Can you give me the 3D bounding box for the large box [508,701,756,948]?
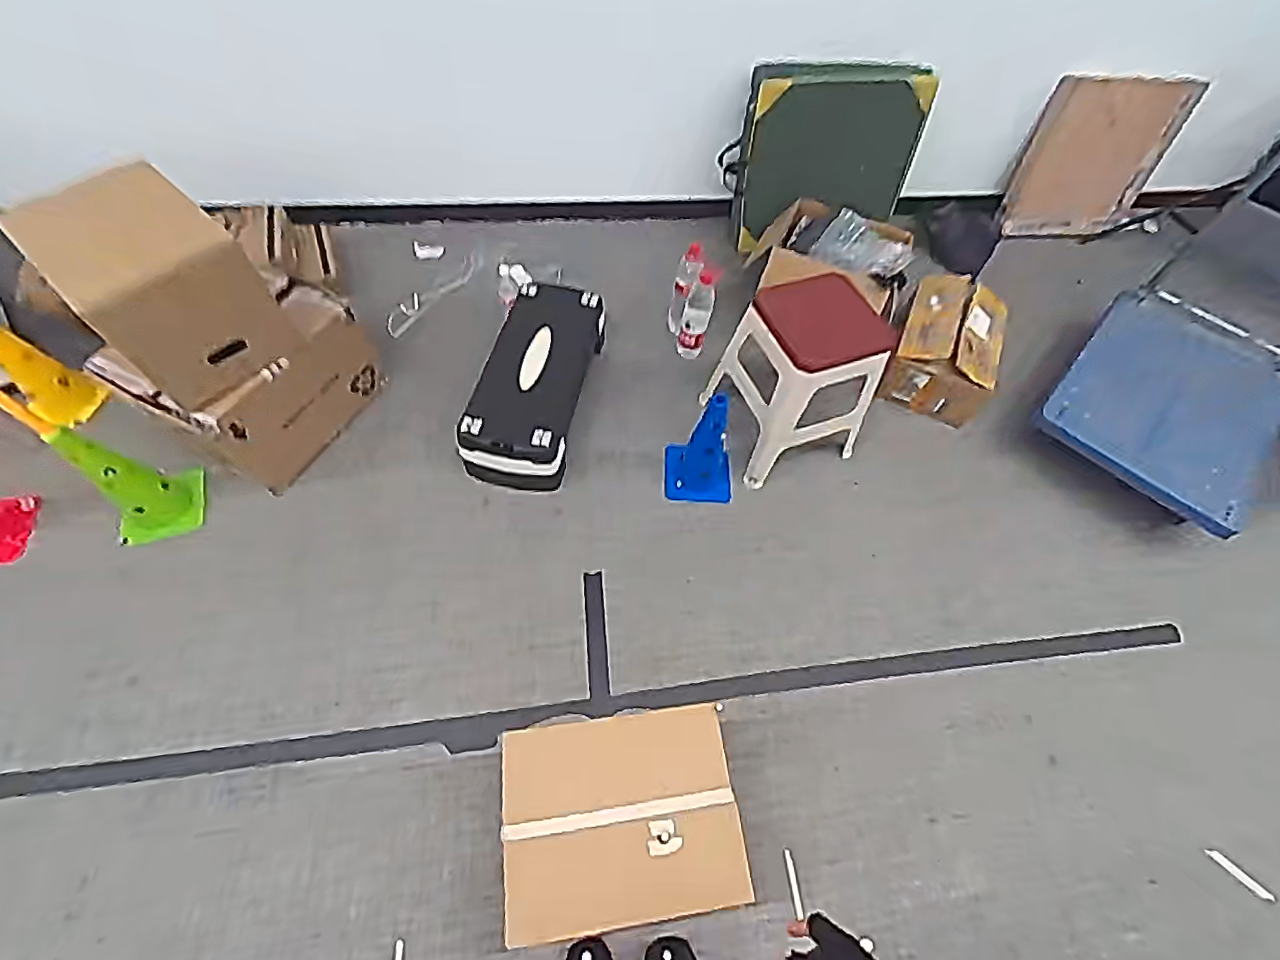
[{"bbox_3d":[-0.036,0.656,1.068,0.408,0.320,0.320,-5,59,-9],"label":"large box"}]
